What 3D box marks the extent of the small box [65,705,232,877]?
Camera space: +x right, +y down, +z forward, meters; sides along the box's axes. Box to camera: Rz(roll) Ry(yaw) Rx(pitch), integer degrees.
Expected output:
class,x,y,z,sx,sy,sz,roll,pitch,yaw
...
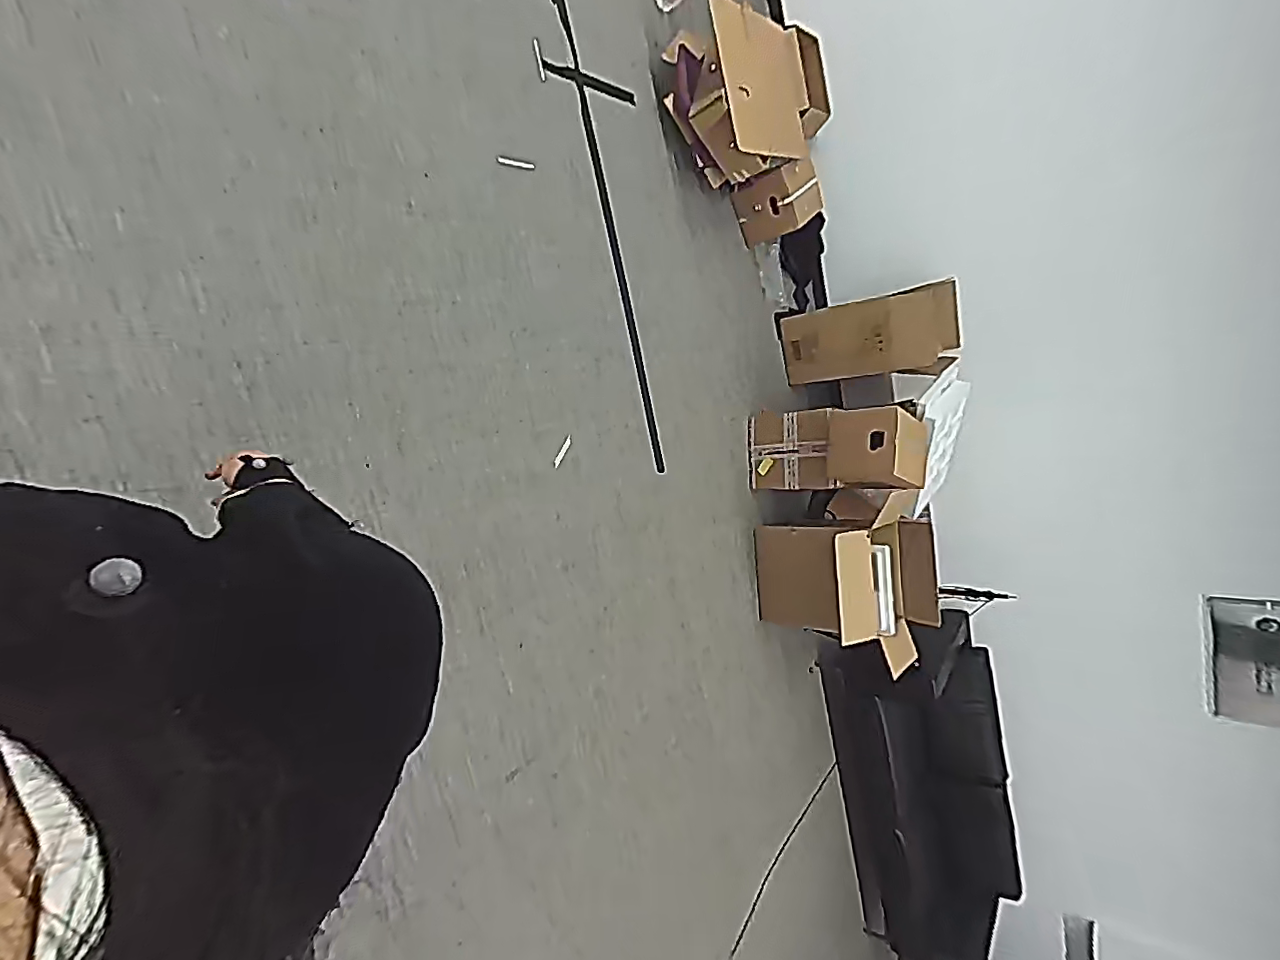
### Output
class,x,y,z,sx,sy,sz,roll,pitch,yaw
small box,-0.858,0.528,0.947,0.179,0.176,0.168,-22,104,-47
